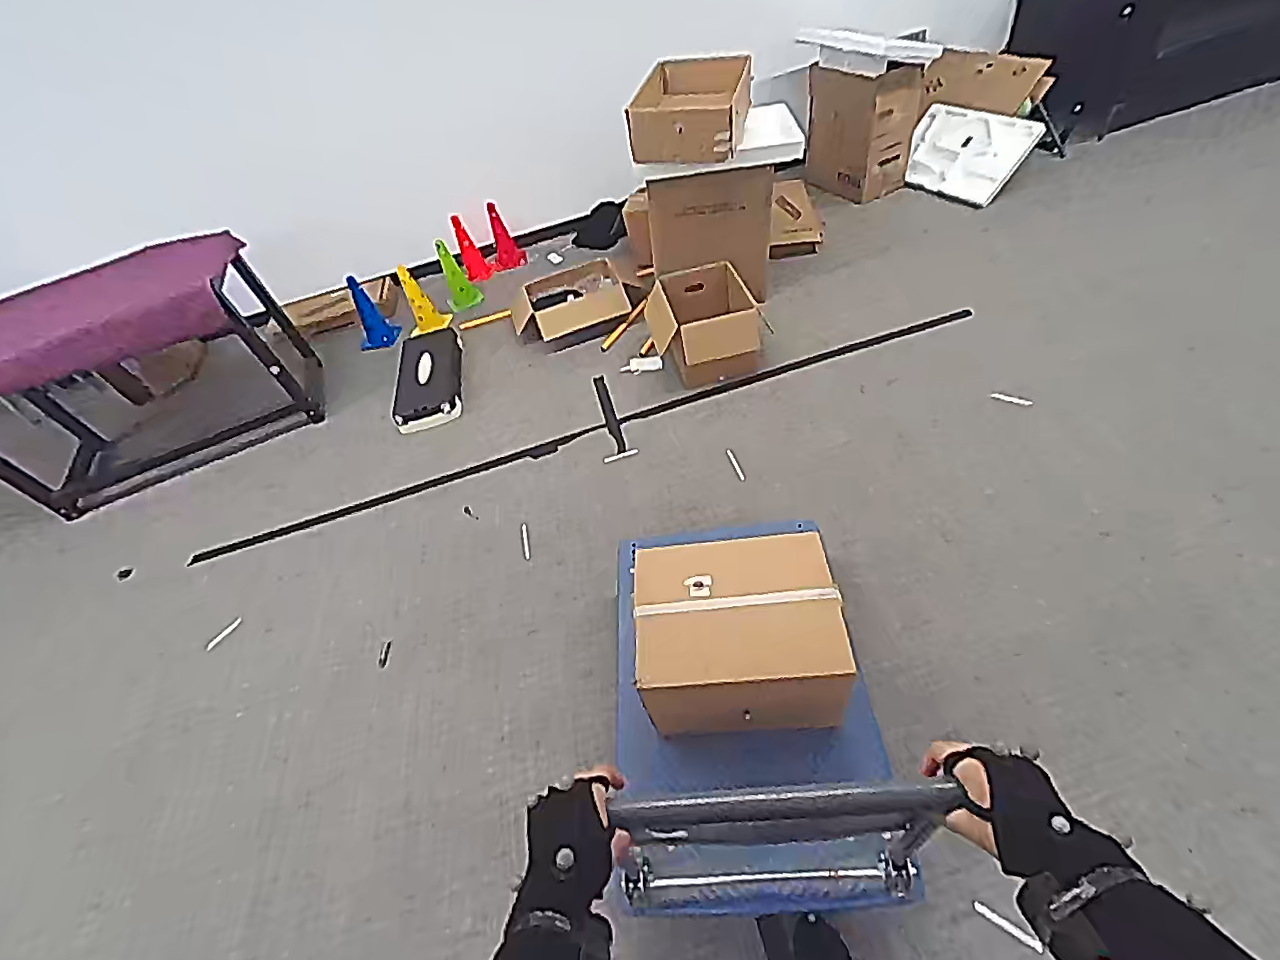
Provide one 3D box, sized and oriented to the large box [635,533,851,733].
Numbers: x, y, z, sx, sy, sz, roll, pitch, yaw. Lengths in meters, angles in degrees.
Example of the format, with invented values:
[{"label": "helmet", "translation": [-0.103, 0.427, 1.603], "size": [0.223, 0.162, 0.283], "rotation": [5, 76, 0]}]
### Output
[{"label": "large box", "translation": [0.216, 0.354, 1.217], "size": [0.408, 0.320, 0.320], "rotation": [-8, 47, 7]}]
